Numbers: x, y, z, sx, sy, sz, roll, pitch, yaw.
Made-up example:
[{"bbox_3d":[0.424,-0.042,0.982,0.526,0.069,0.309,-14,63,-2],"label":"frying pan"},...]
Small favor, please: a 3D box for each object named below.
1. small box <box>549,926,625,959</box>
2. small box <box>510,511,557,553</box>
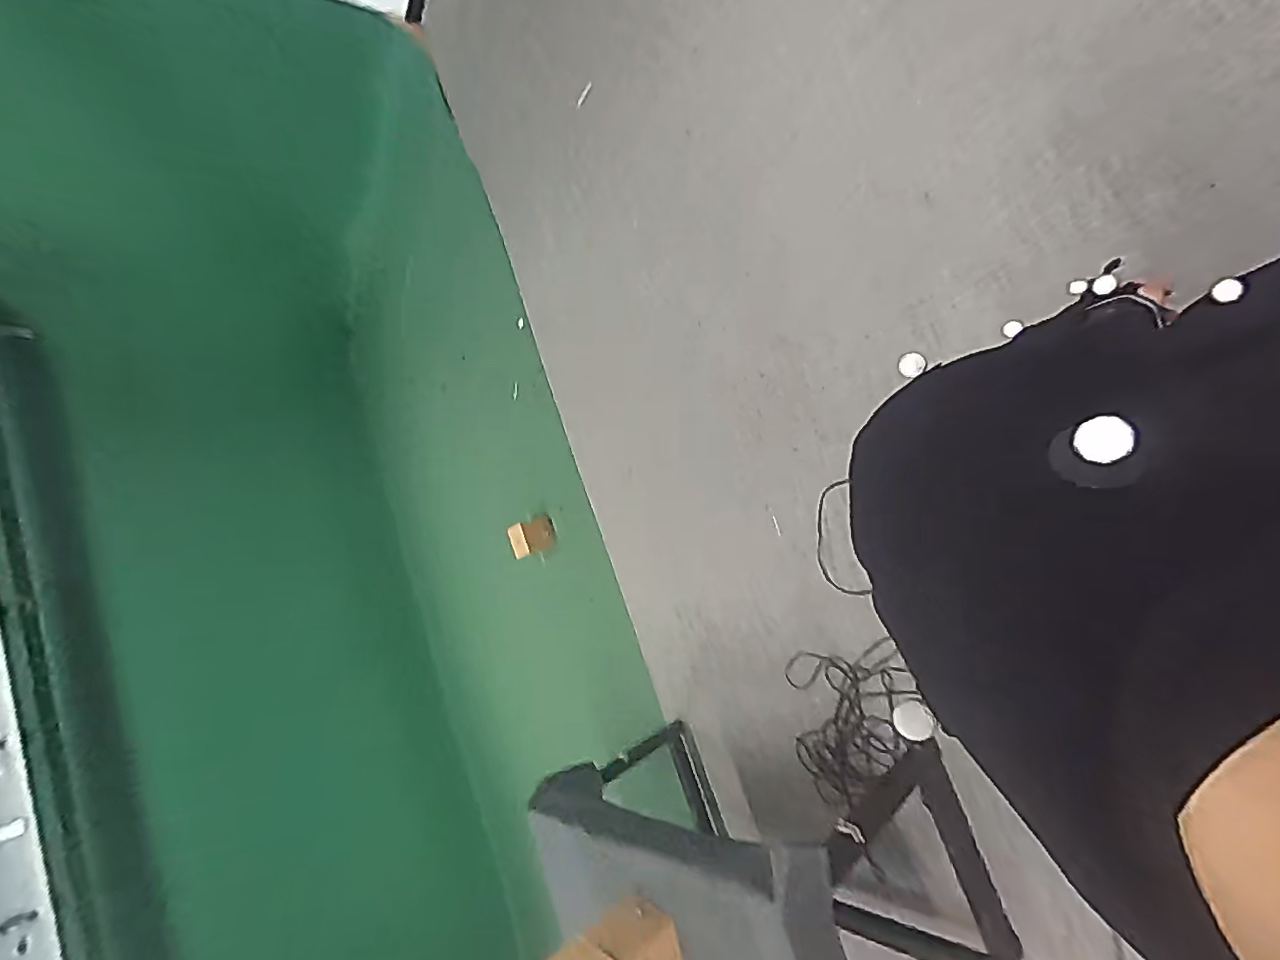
[{"bbox_3d":[-0.121,1.176,1.228,0.168,0.176,0.179,-25,82,51],"label":"small box"},{"bbox_3d":[-0.574,0.283,2.921,0.179,0.176,0.168,-29,80,50],"label":"small box"}]
